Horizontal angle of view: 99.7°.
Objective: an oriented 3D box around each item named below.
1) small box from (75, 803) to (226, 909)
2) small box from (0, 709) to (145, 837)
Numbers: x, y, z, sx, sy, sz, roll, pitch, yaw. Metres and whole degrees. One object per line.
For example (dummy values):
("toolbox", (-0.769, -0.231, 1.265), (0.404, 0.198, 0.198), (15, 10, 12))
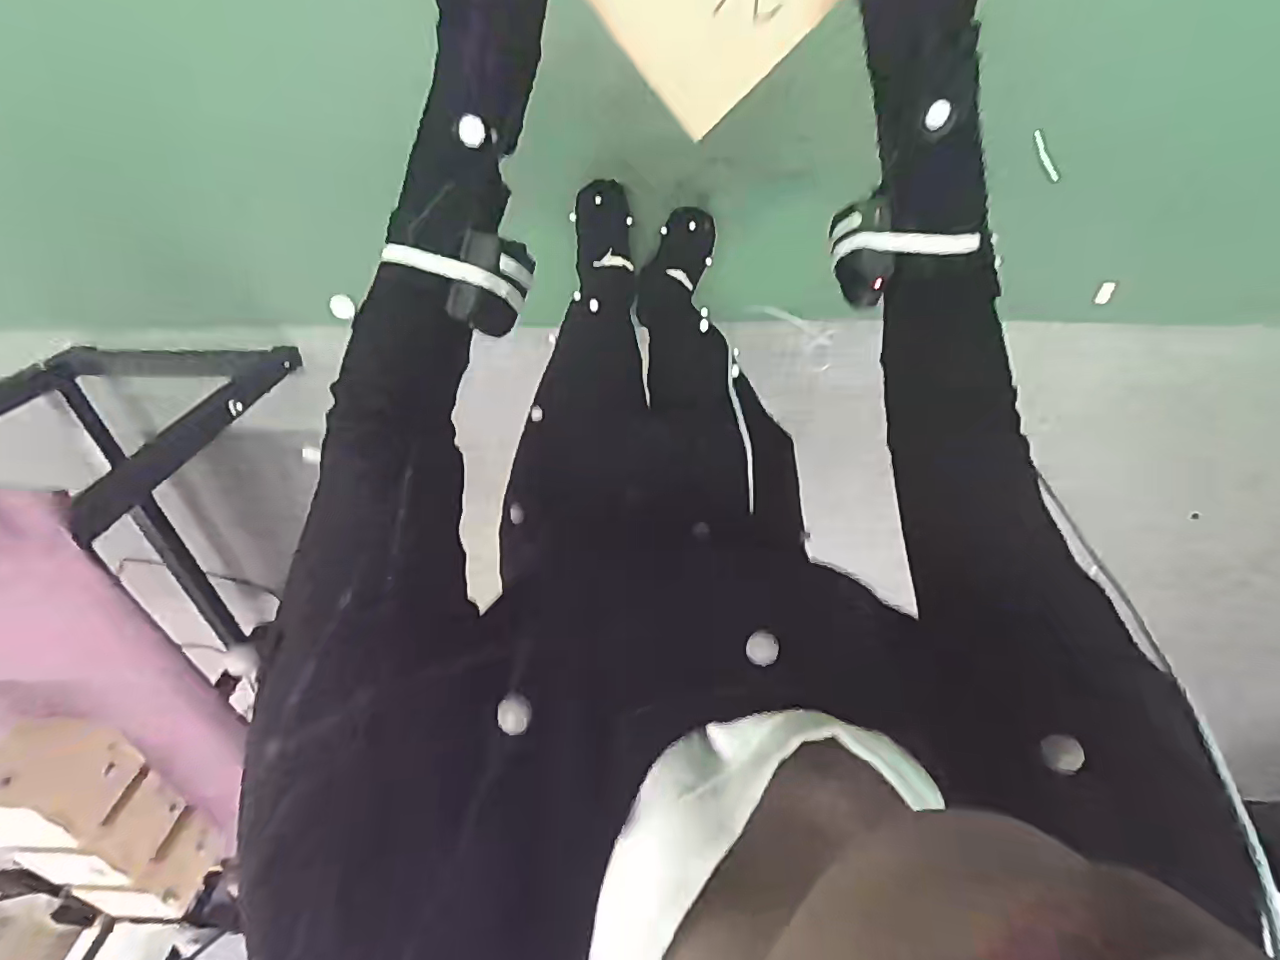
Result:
("small box", (-1.165, 0.902, 1.305), (0.179, 0.176, 0.168), (2, 127, 0))
("small box", (-1.148, 0.569, 1.058), (0.179, 0.176, 0.168), (2, 127, 0))
